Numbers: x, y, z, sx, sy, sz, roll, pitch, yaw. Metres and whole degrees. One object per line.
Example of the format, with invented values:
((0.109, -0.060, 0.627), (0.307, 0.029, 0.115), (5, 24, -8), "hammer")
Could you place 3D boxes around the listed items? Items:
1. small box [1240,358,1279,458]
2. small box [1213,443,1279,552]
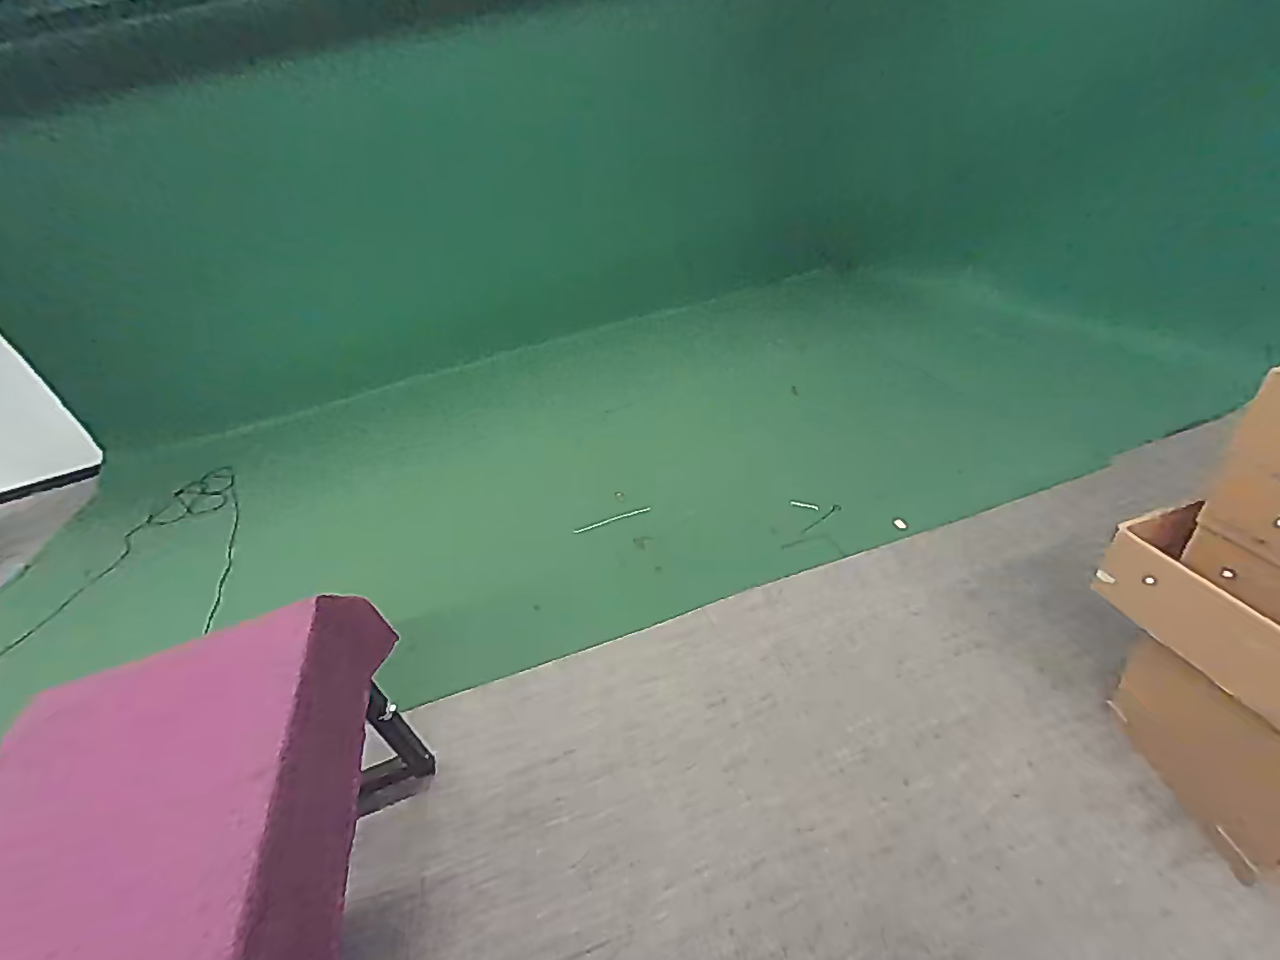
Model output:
((1.165, -0.110, 0.880), (0.168, 0.176, 0.179), (-16, 36, -1), "small box")
((1.207, 0.019, 0.974), (0.179, 0.176, 0.168), (-17, 35, -4), "small box")
